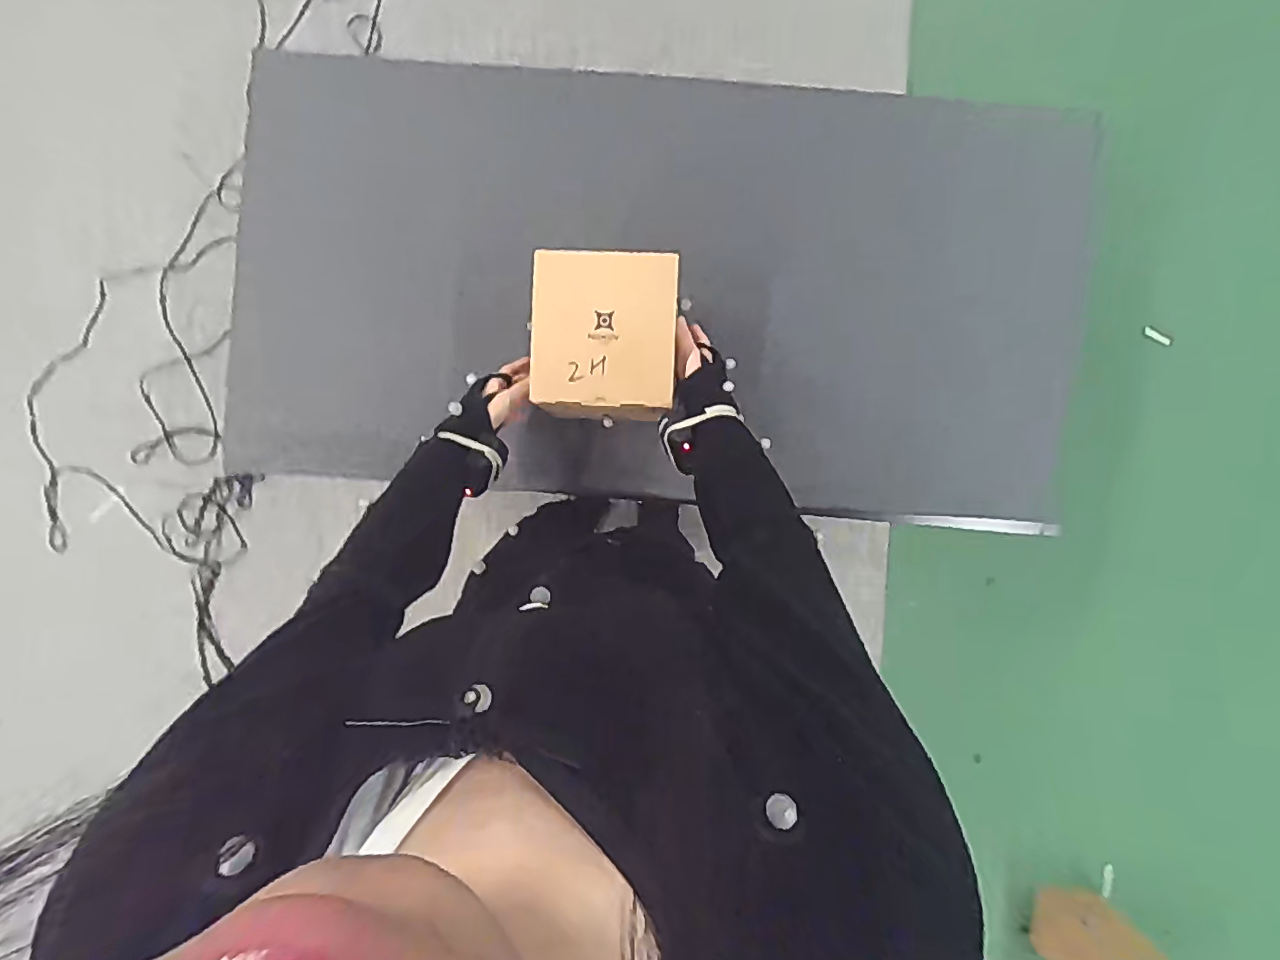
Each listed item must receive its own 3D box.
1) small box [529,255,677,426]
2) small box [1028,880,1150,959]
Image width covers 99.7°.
[{"bbox_3d":[-0.041,-0.169,0.698,0.168,0.176,0.179,2,90,2],"label":"small box"},{"bbox_3d":[1.178,1.202,1.428,0.179,0.176,0.168,5,91,1],"label":"small box"}]
